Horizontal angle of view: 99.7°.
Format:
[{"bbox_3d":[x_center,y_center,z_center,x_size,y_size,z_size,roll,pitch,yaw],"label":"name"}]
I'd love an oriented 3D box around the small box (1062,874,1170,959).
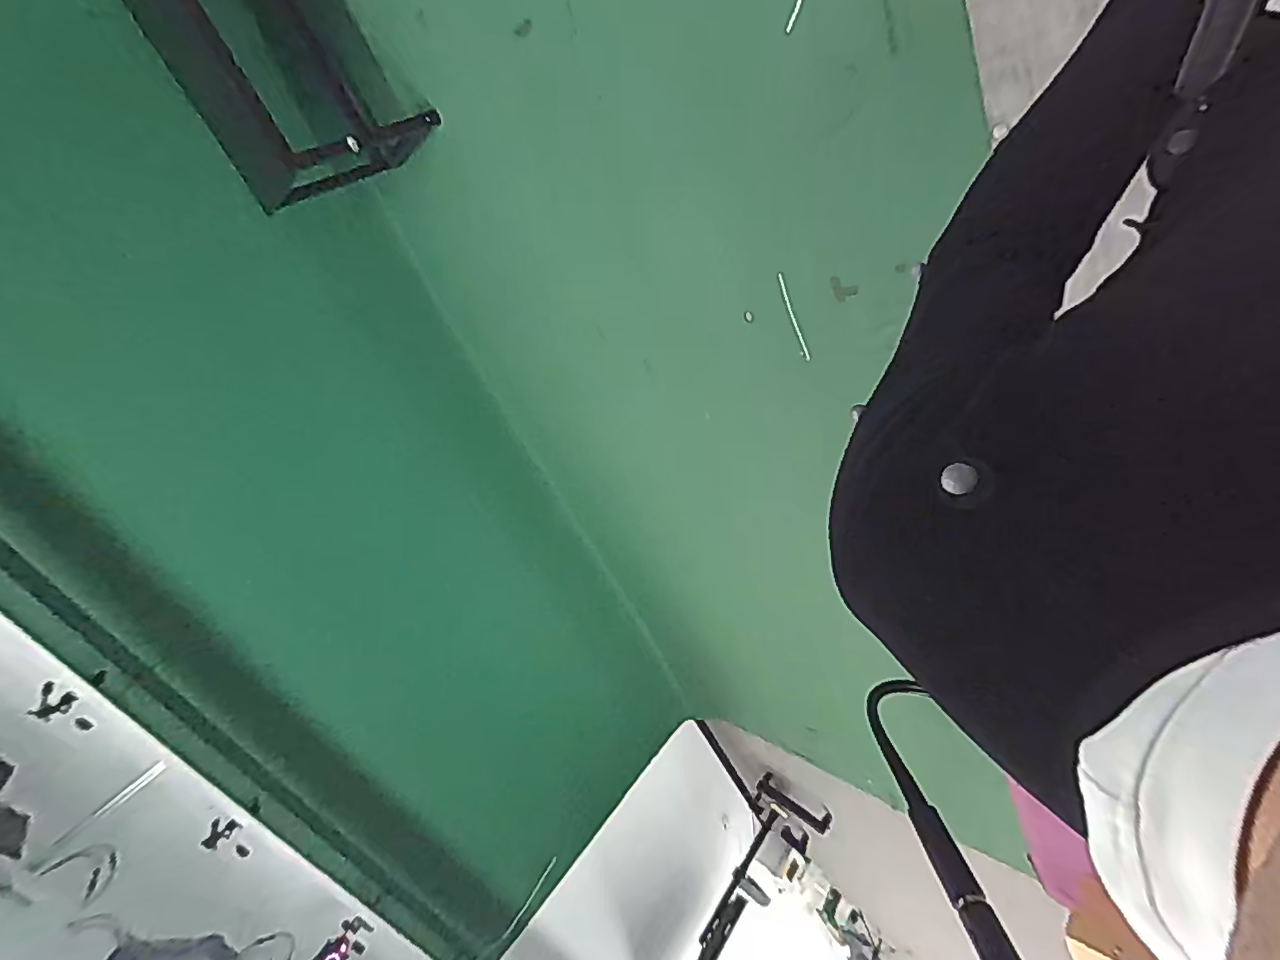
[{"bbox_3d":[1.193,1.149,1.351,0.168,0.176,0.179,-2,124,52],"label":"small box"}]
